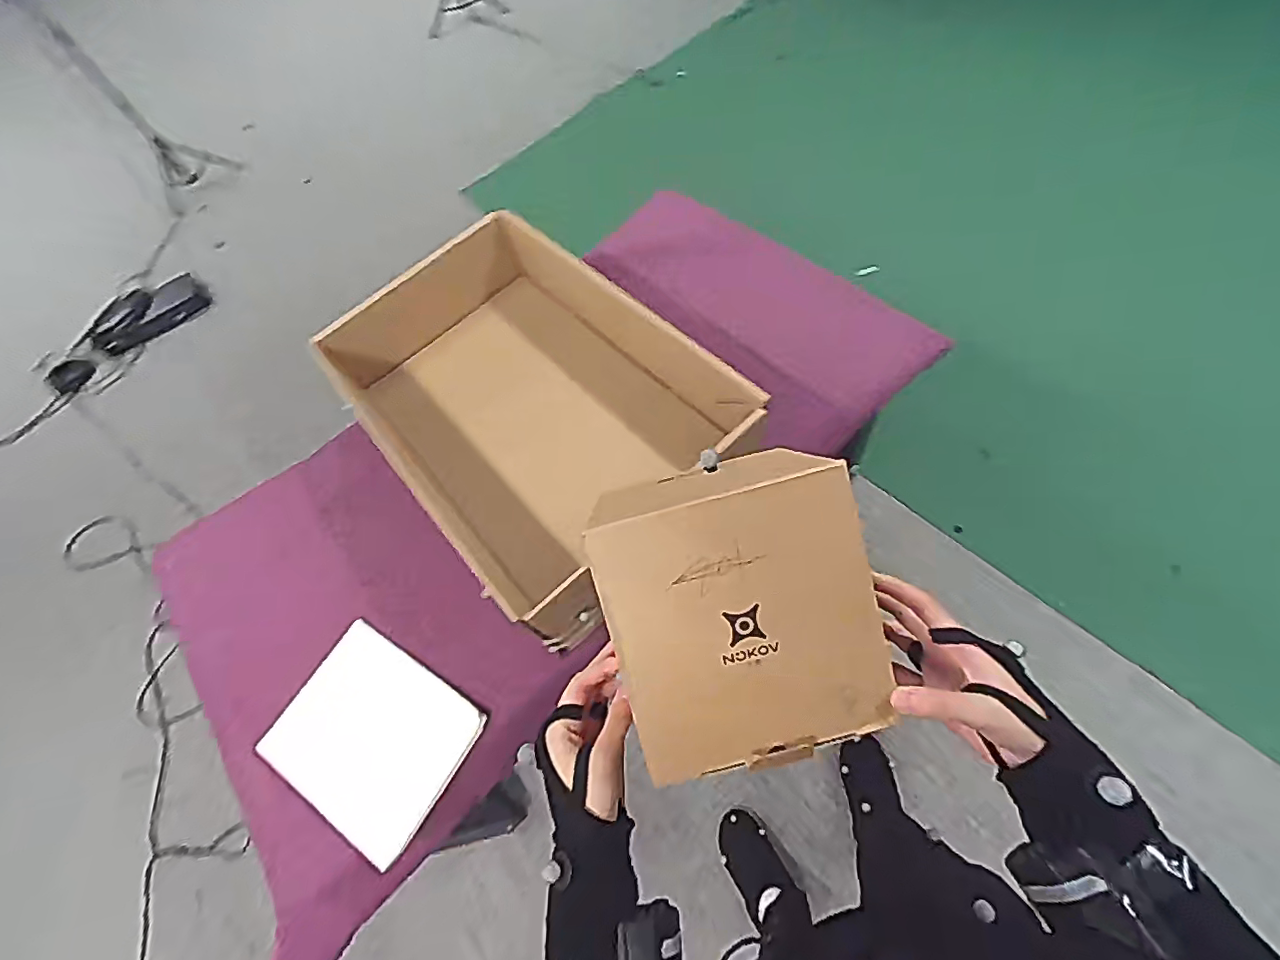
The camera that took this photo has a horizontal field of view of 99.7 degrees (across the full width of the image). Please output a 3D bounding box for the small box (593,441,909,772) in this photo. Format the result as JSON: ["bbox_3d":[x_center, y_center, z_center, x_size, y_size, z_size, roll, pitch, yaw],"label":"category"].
[{"bbox_3d":[0.070,0.074,0.407,0.168,0.176,0.179,-13,96,1],"label":"small box"}]
